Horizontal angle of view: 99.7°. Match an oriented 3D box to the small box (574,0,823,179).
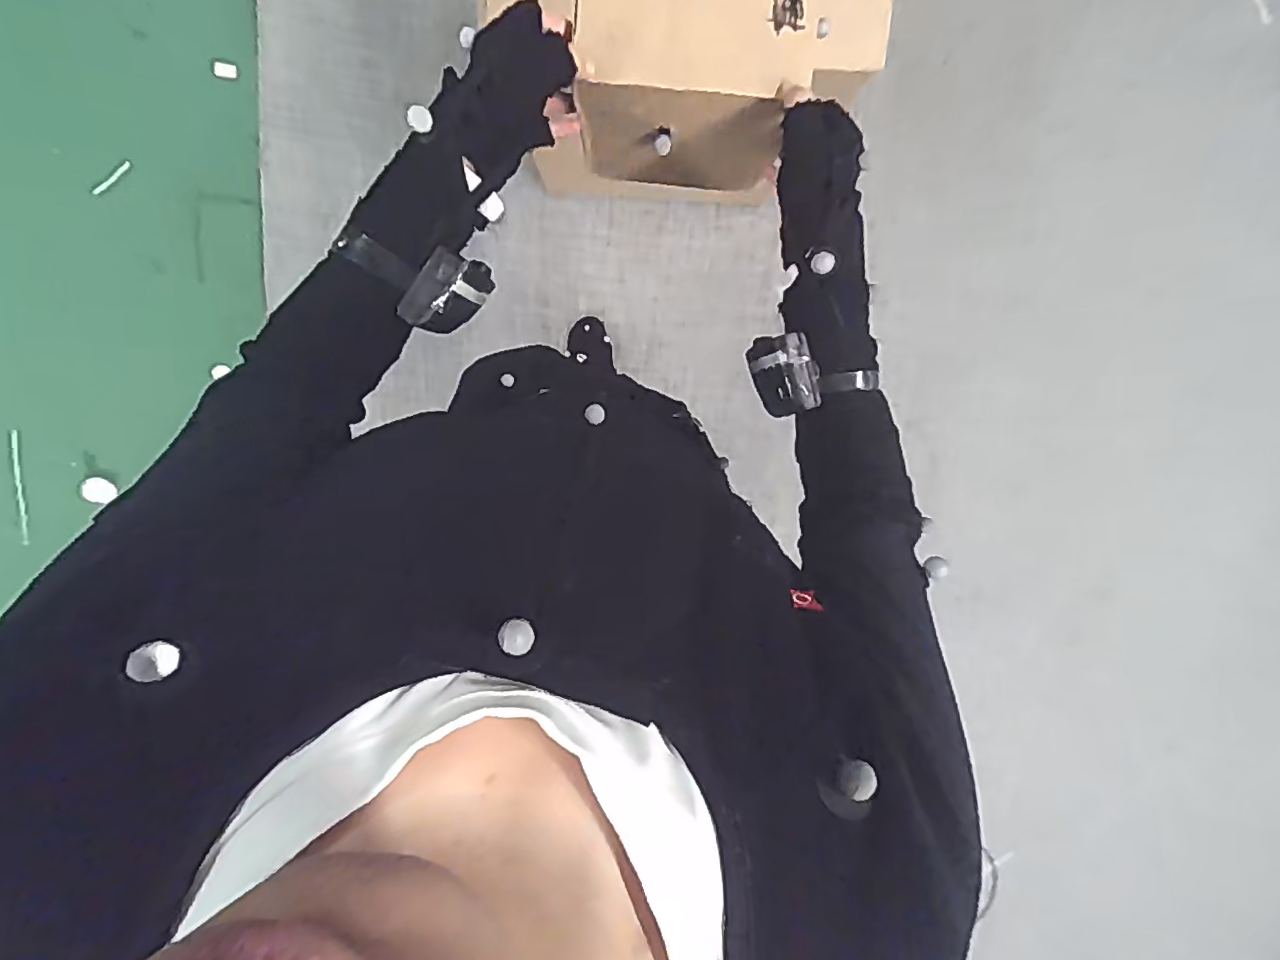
[{"bbox_3d":[0.047,-0.379,0.459,0.179,0.176,0.168,5,97,-1],"label":"small box"}]
